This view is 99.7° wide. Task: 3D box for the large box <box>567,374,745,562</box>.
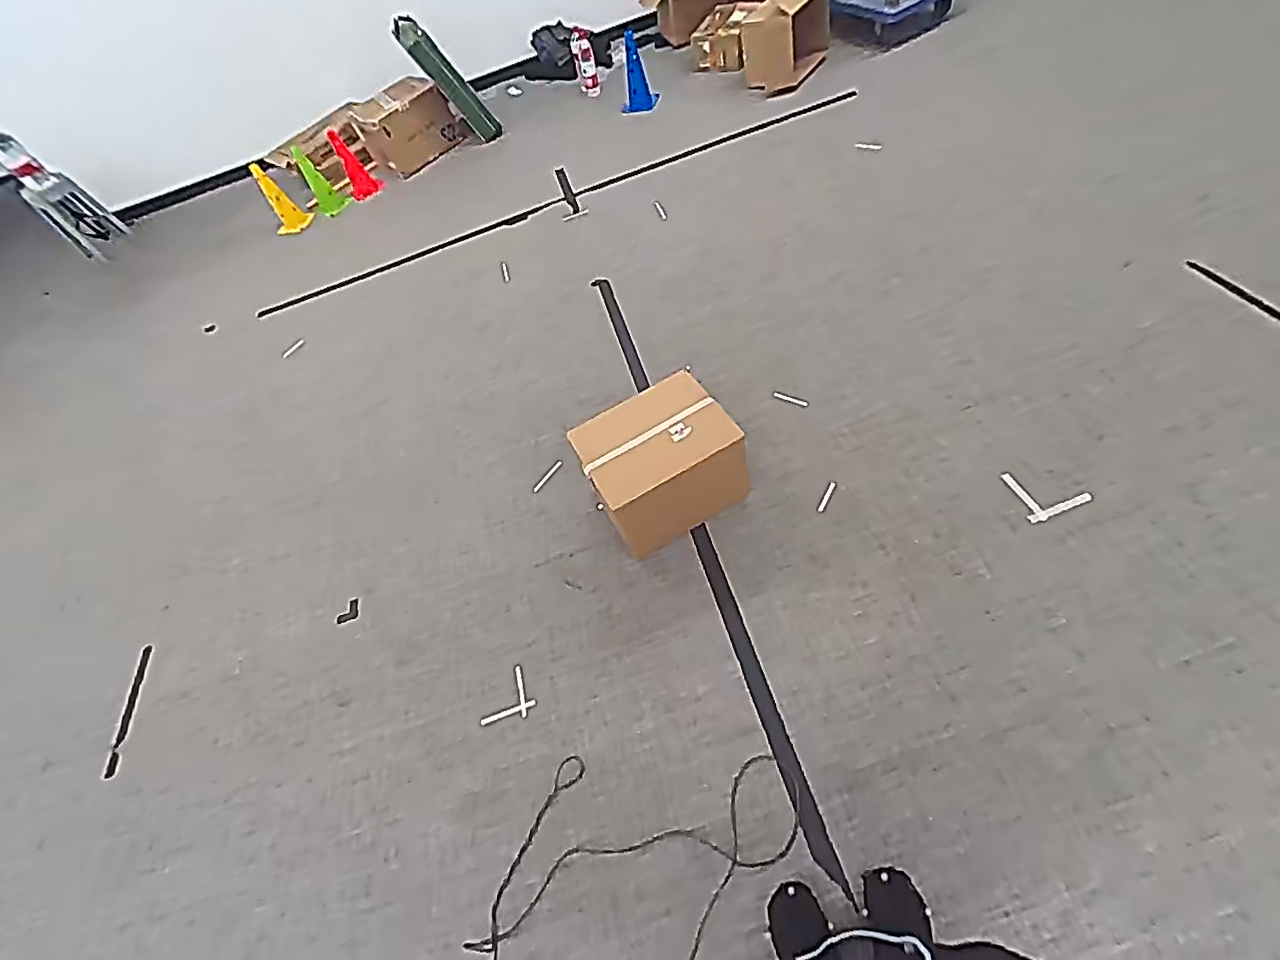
[{"bbox_3d":[0.057,-0.031,1.596,0.408,0.320,0.320,-29,56,-7],"label":"large box"}]
